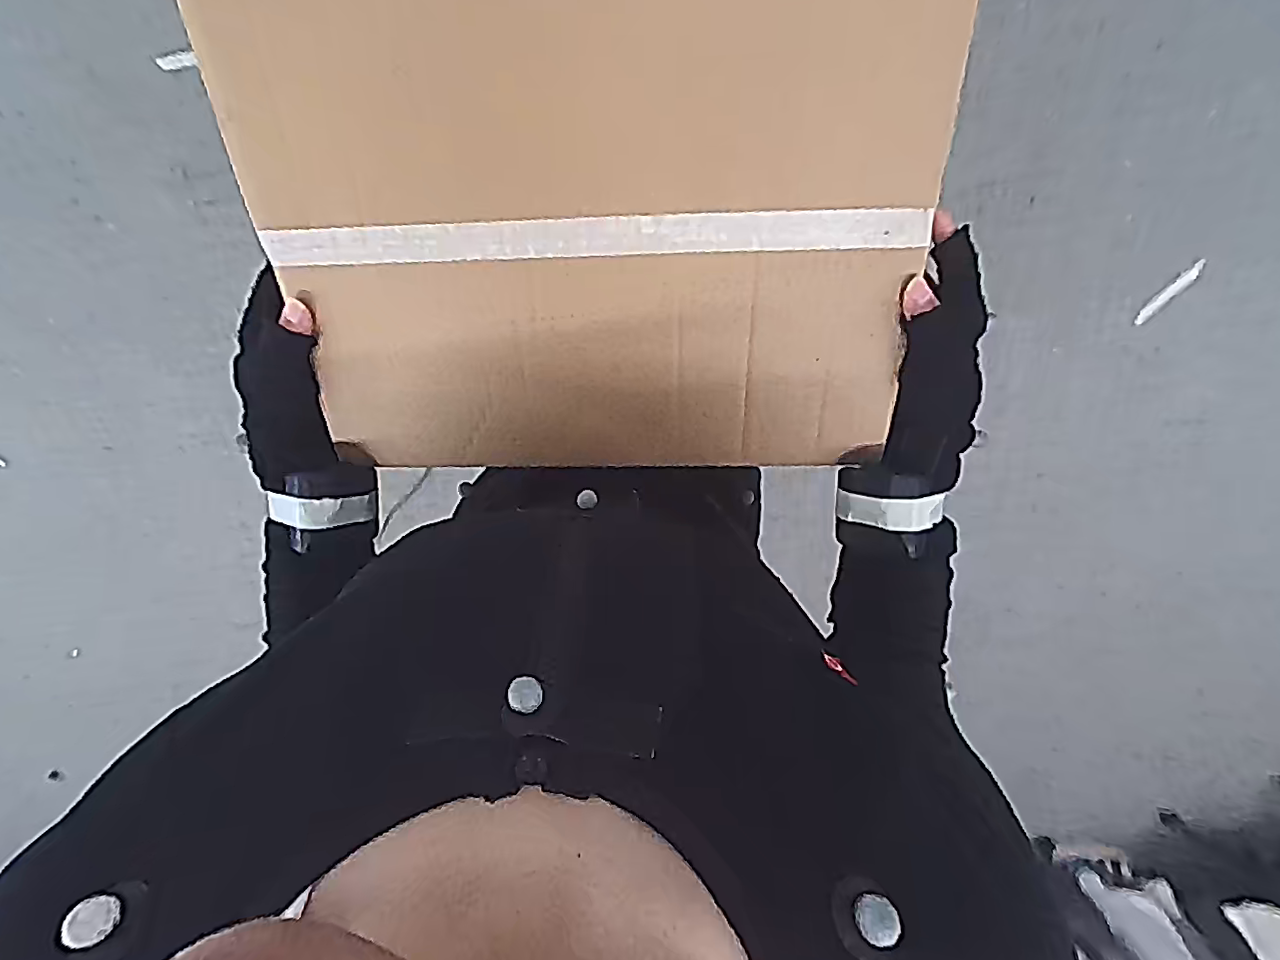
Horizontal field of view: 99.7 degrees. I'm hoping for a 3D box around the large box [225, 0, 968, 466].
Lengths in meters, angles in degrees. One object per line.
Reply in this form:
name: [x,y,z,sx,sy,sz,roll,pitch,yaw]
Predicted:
large box: [-0.019,-0.219,0.477,0.408,0.320,0.320,0,120,3]
